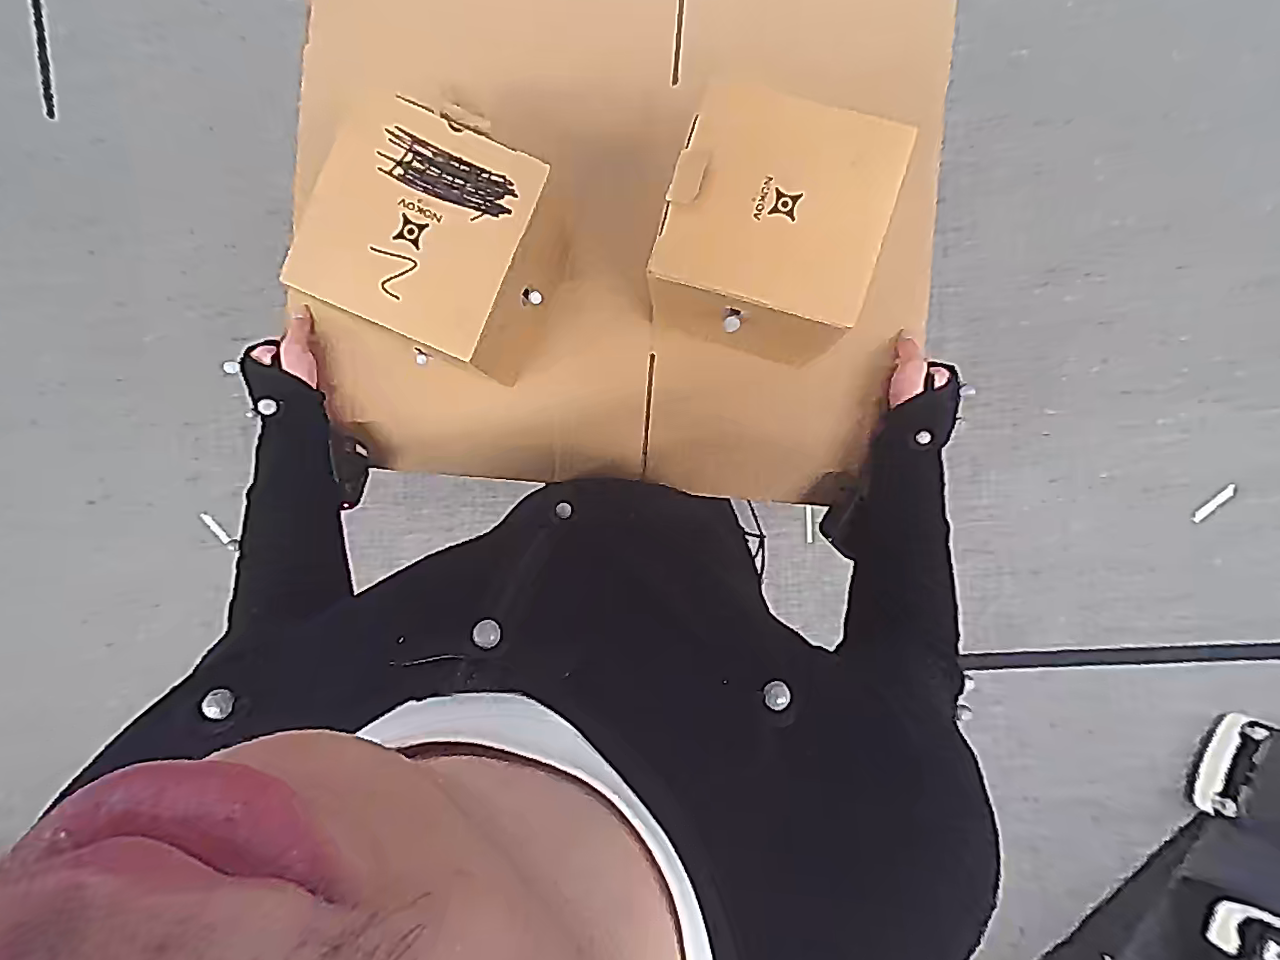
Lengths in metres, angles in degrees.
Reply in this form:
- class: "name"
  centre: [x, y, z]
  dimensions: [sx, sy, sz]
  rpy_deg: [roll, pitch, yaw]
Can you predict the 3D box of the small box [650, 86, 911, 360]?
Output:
- class: "small box"
  centre: [0.121, -0.227, 0.526]
  dimensions: [0.179, 0.176, 0.168]
  rpy_deg: [18, 92, 5]
